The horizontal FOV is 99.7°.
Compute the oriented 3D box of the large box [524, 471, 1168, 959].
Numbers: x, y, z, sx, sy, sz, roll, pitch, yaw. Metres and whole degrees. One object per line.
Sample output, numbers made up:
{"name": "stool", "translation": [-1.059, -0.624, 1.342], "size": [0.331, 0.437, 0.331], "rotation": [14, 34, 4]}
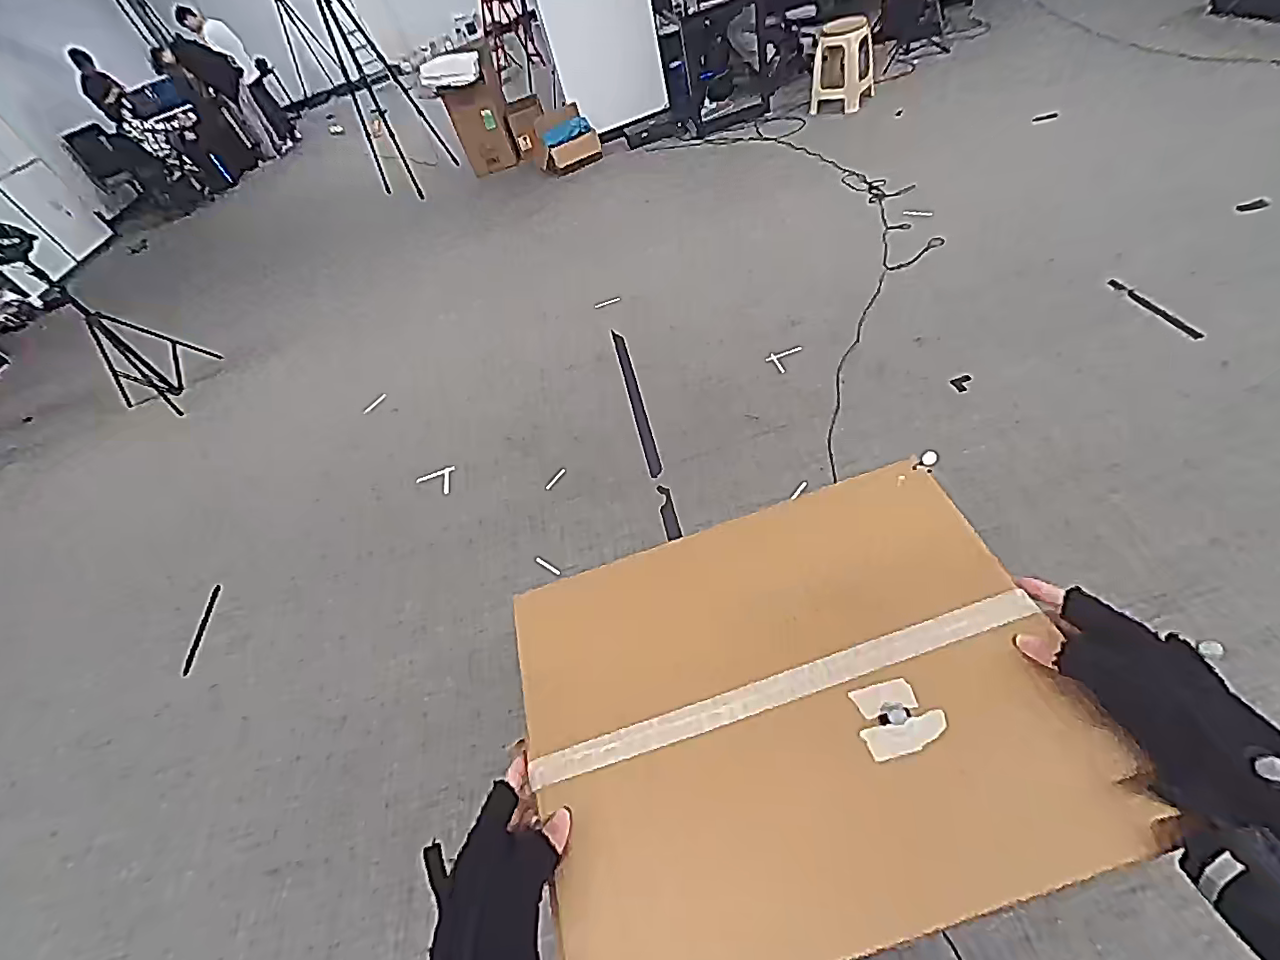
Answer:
{"name": "large box", "translation": [0.142, 0.257, 0.549], "size": [0.408, 0.320, 0.320], "rotation": [-20, 52, 1]}
